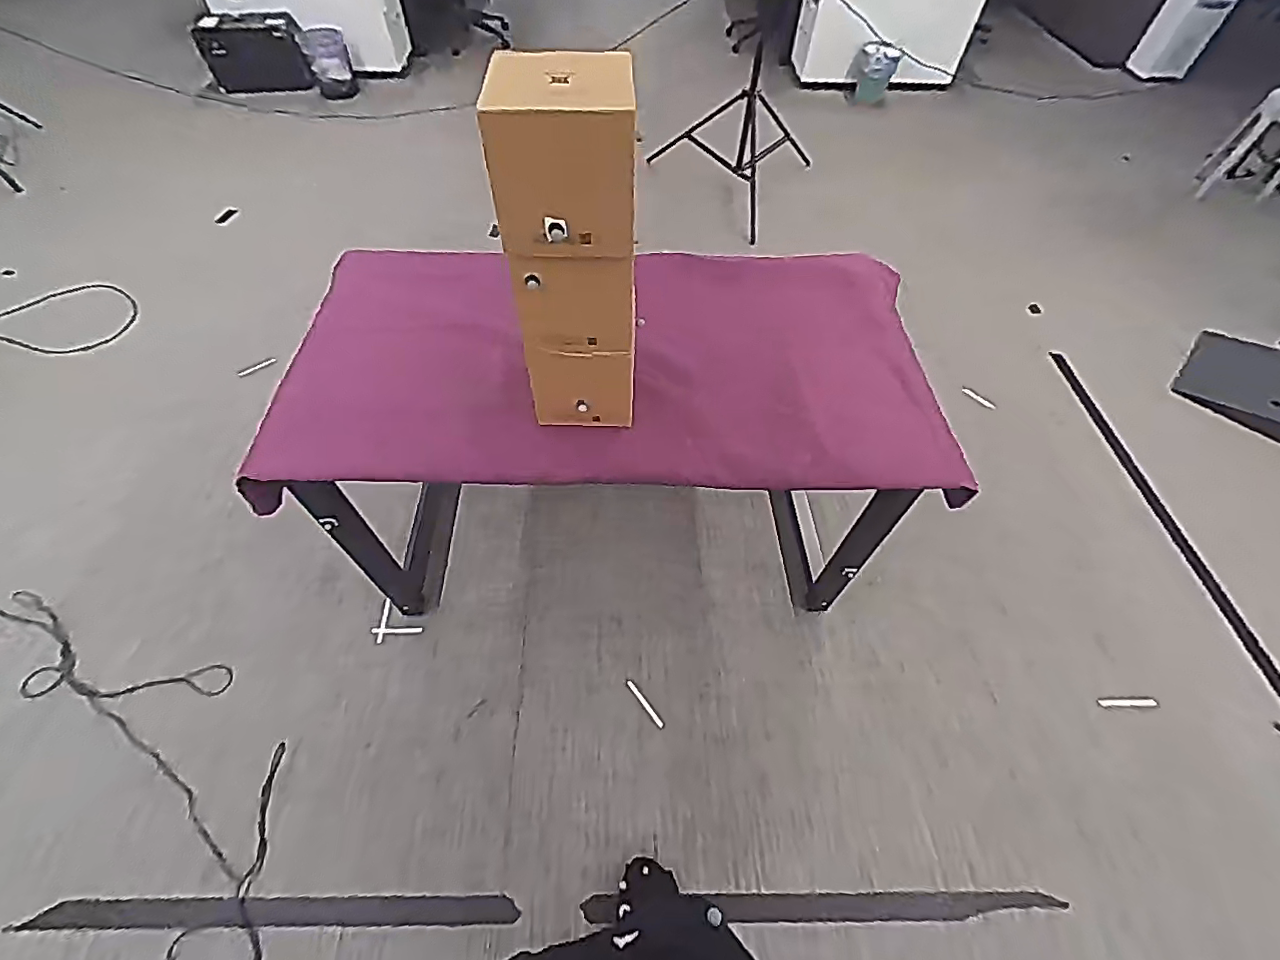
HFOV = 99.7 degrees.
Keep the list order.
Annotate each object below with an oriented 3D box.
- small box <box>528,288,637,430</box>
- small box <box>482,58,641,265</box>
[{"bbox_3d":[-0.092,-0.209,0.942,0.168,0.176,0.179,1,54,0],"label":"small box"},{"bbox_3d":[-0.087,-0.390,0.669,0.168,0.176,0.179,-2,55,-2],"label":"small box"}]
